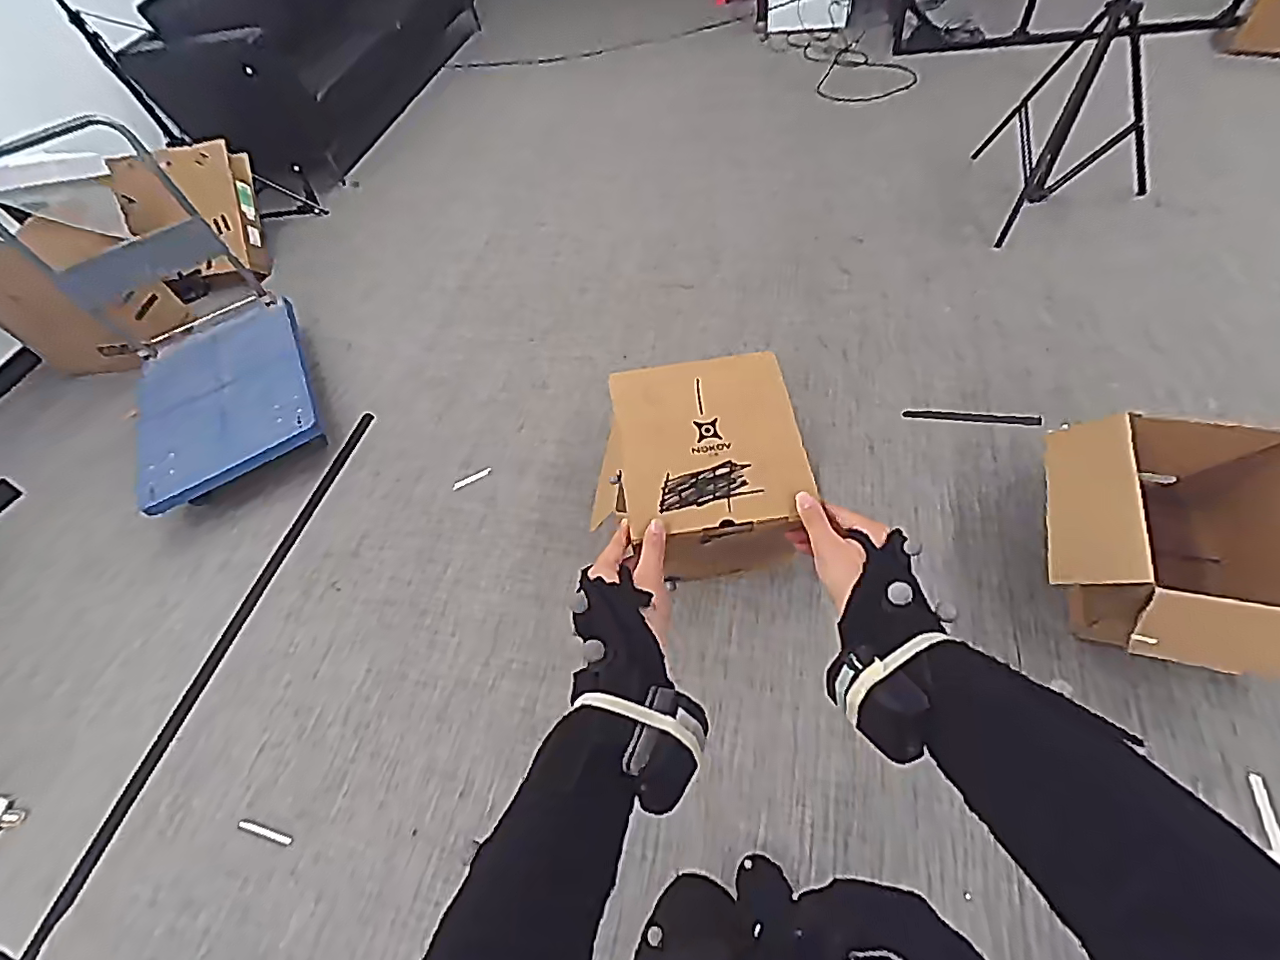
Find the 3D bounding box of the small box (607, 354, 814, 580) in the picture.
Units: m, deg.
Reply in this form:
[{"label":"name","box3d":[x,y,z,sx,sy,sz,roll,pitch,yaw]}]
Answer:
[{"label":"small box","box3d":[0.063,-0.002,0.568,0.168,0.176,0.179,-9,64,-2]}]
